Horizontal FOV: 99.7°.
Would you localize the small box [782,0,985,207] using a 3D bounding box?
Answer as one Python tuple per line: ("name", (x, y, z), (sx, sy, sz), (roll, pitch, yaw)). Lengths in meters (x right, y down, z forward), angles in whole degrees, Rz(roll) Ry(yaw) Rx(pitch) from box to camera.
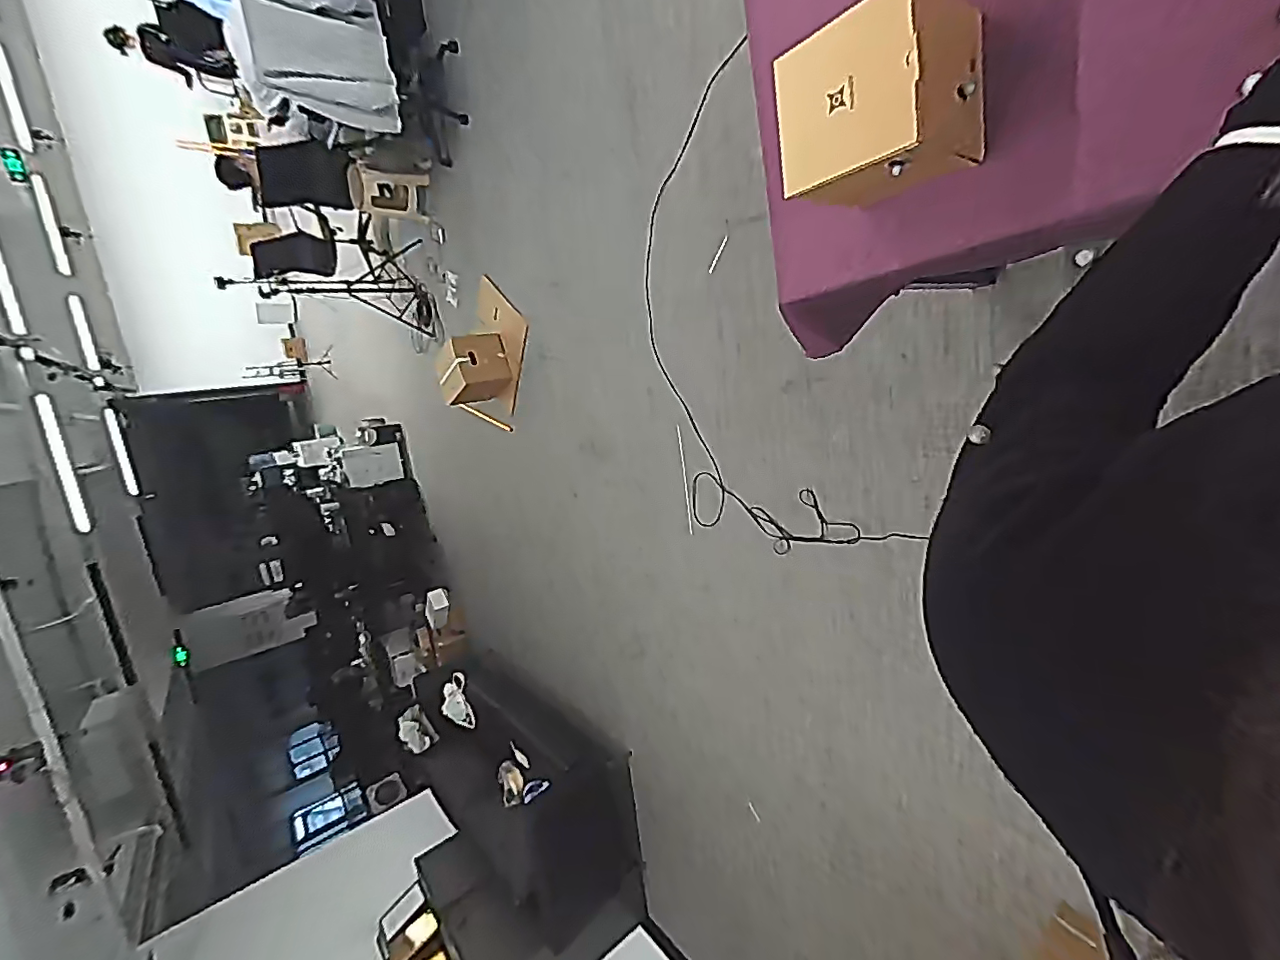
("small box", (0.306, -0.463, 0.684), (0.179, 0.176, 0.168), (6, 106, 52))
